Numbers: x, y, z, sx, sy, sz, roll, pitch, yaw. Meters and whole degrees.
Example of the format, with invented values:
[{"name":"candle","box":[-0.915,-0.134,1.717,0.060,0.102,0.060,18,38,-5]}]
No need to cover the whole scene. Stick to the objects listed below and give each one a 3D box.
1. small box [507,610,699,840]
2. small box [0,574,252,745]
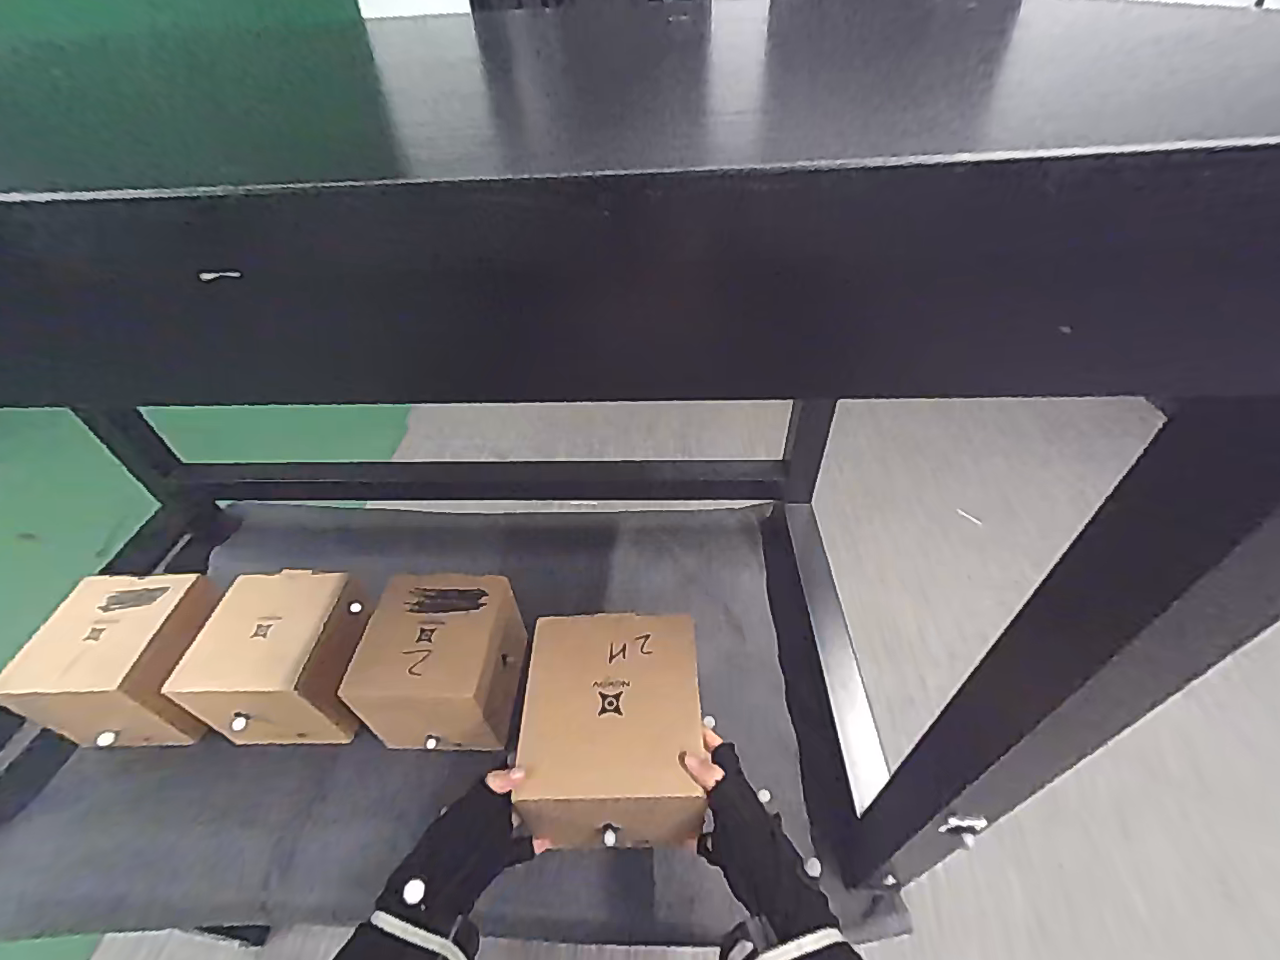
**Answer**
[{"name":"small box","box":[-0.026,0.257,0.562,0.168,0.176,0.179,-2,43,2]},{"name":"small box","box":[-0.702,0.254,0.768,0.168,0.176,0.179,-2,43,2]}]
